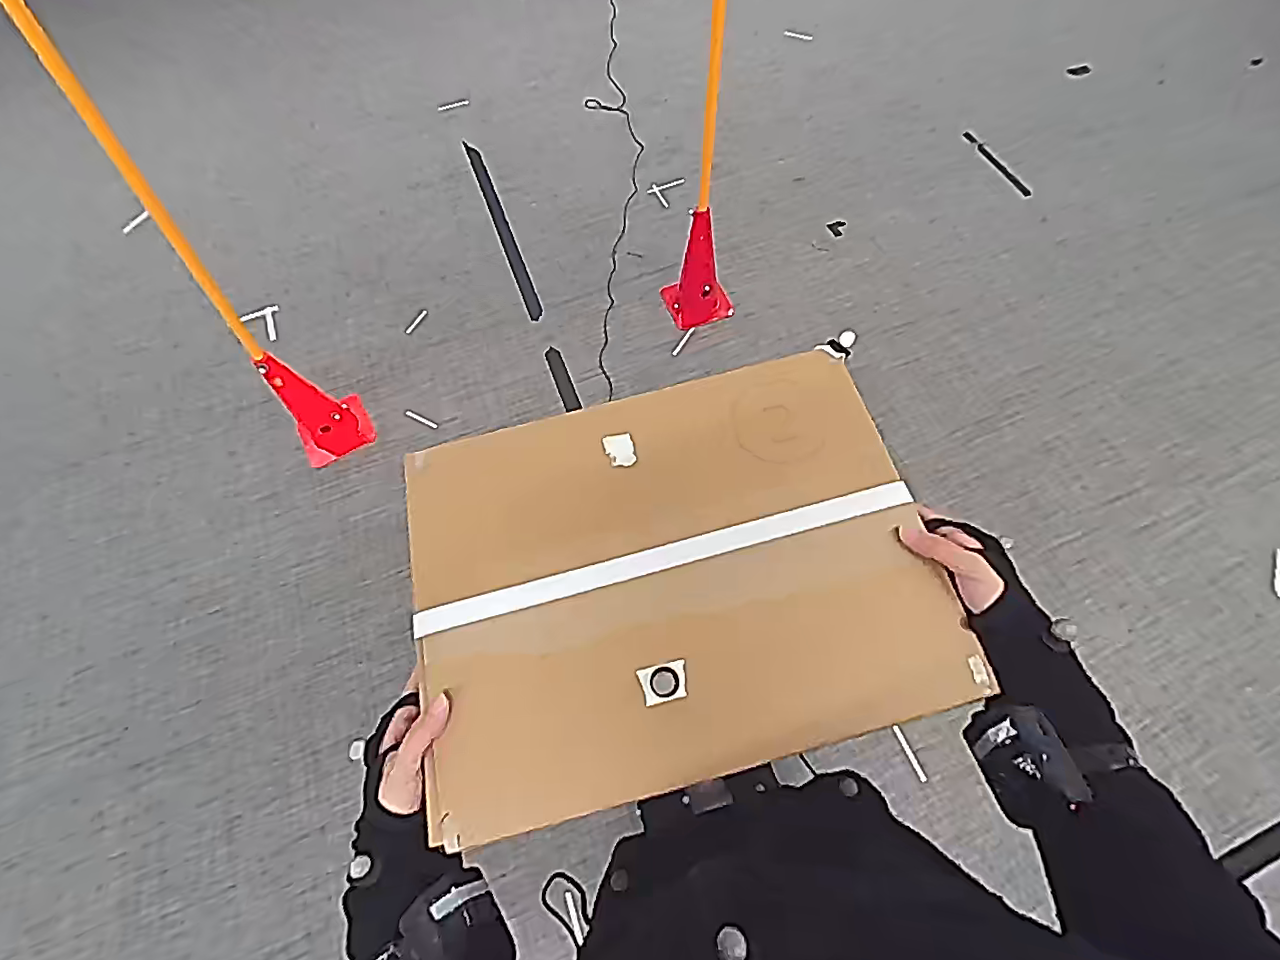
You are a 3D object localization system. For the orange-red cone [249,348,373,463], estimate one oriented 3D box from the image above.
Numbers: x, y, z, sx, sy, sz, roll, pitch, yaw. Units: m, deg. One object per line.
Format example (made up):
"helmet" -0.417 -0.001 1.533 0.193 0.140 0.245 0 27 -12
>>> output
"orange-red cone" -0.930 -0.230 1.478 0.199 0.360 0.198 -29 66 -10
